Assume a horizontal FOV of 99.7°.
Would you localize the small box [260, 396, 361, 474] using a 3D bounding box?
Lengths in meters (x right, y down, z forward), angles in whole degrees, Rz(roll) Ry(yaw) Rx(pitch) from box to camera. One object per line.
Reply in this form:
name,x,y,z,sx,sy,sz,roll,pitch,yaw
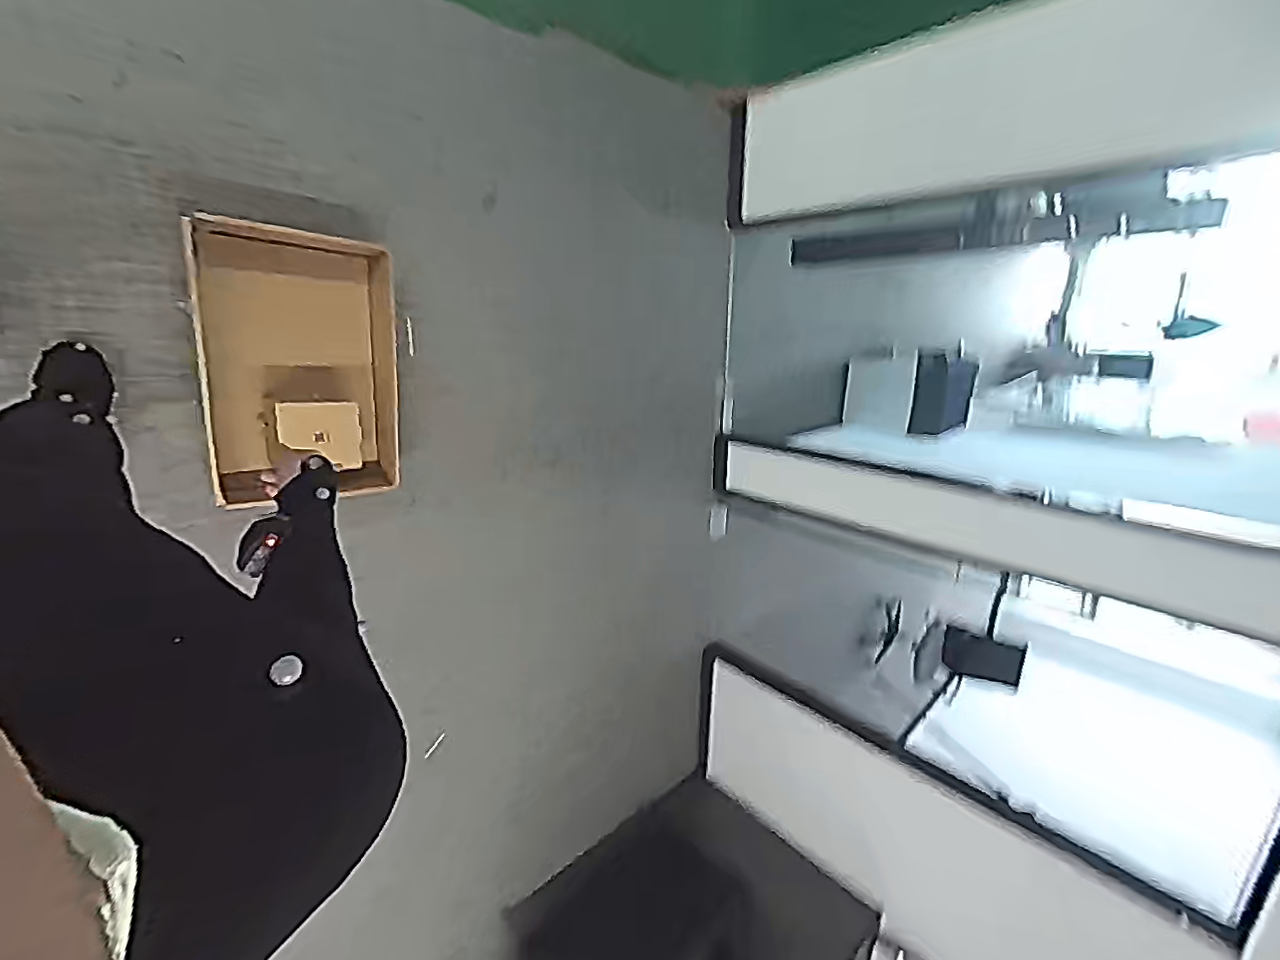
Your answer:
small box,-0.810,-0.117,1.329,0.179,0.176,0.168,-8,107,-43
